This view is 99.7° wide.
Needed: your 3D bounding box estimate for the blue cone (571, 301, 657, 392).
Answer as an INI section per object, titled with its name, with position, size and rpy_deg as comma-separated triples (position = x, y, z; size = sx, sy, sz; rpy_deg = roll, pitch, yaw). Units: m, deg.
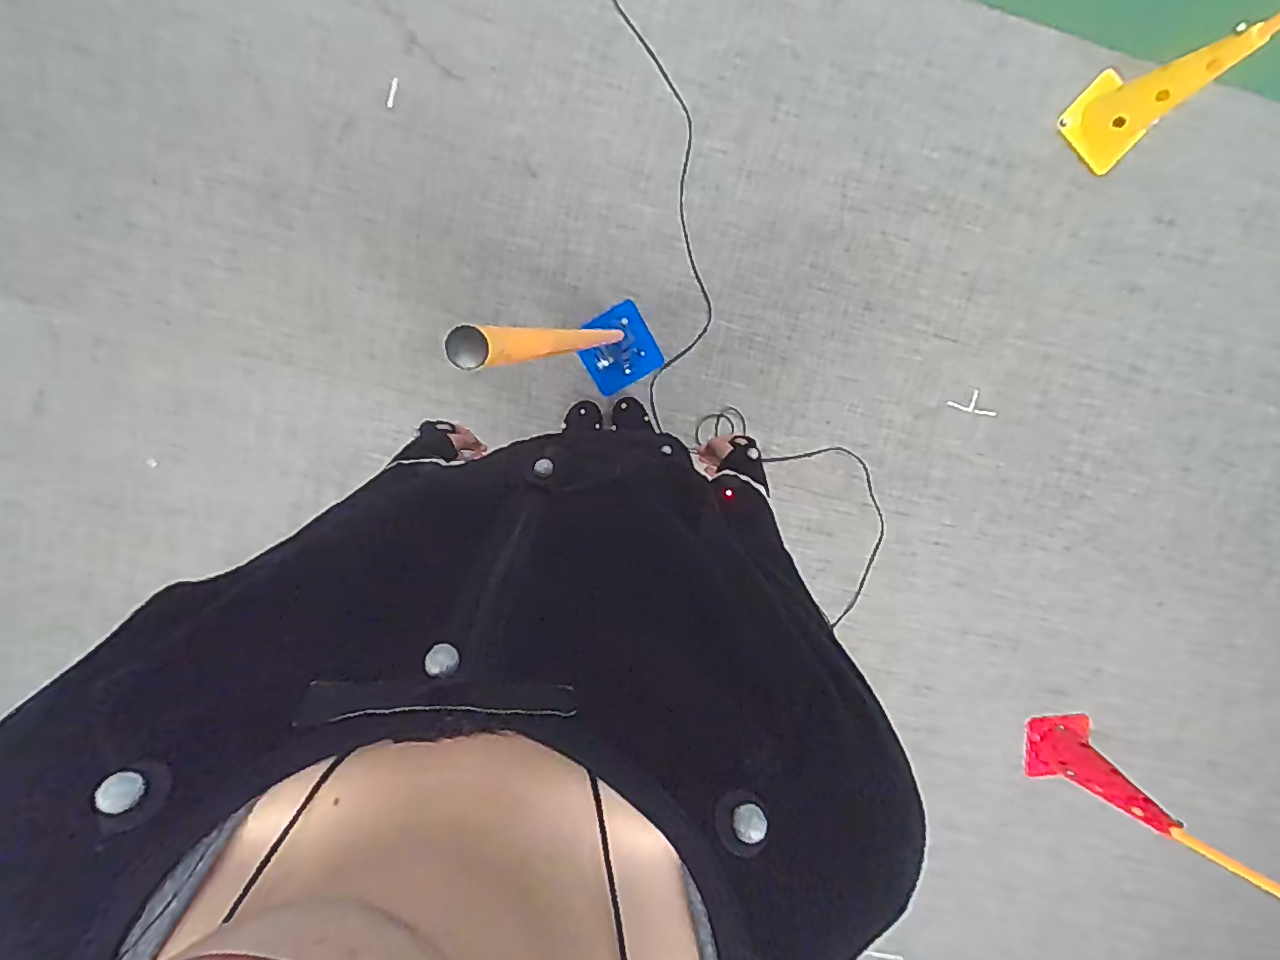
[blue cone]
position = -0.059, -0.321, 1.272
size = 0.193, 0.380, 0.192
rpy_deg = -31, 99, 3
